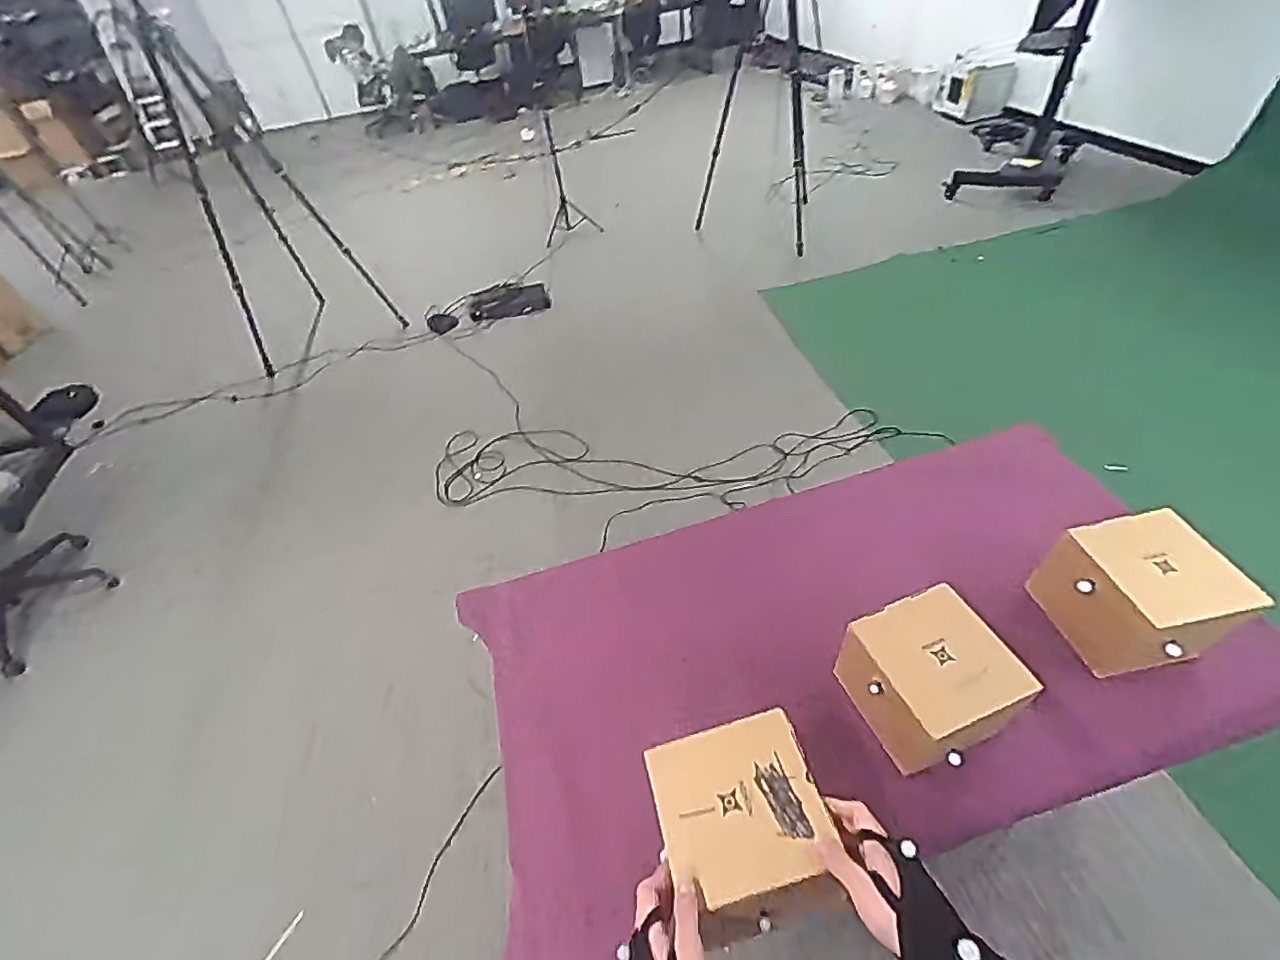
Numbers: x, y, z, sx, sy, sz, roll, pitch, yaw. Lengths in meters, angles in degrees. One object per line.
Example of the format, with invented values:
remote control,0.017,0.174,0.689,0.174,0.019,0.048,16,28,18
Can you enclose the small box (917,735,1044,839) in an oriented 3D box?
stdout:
small box,0.803,0.722,1.300,0.168,0.176,0.179,-20,47,-11

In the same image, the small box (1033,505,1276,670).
small box,0.757,0.170,0.824,0.168,0.176,0.179,-12,45,-1

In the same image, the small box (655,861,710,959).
small box,0.150,0.932,1.205,0.168,0.176,0.179,-22,48,-12

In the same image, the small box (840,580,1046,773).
small box,0.411,0.281,0.774,0.168,0.176,0.179,-19,47,-9

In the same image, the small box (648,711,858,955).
small box,0.121,0.398,0.614,0.179,0.176,0.168,-16,38,-2
